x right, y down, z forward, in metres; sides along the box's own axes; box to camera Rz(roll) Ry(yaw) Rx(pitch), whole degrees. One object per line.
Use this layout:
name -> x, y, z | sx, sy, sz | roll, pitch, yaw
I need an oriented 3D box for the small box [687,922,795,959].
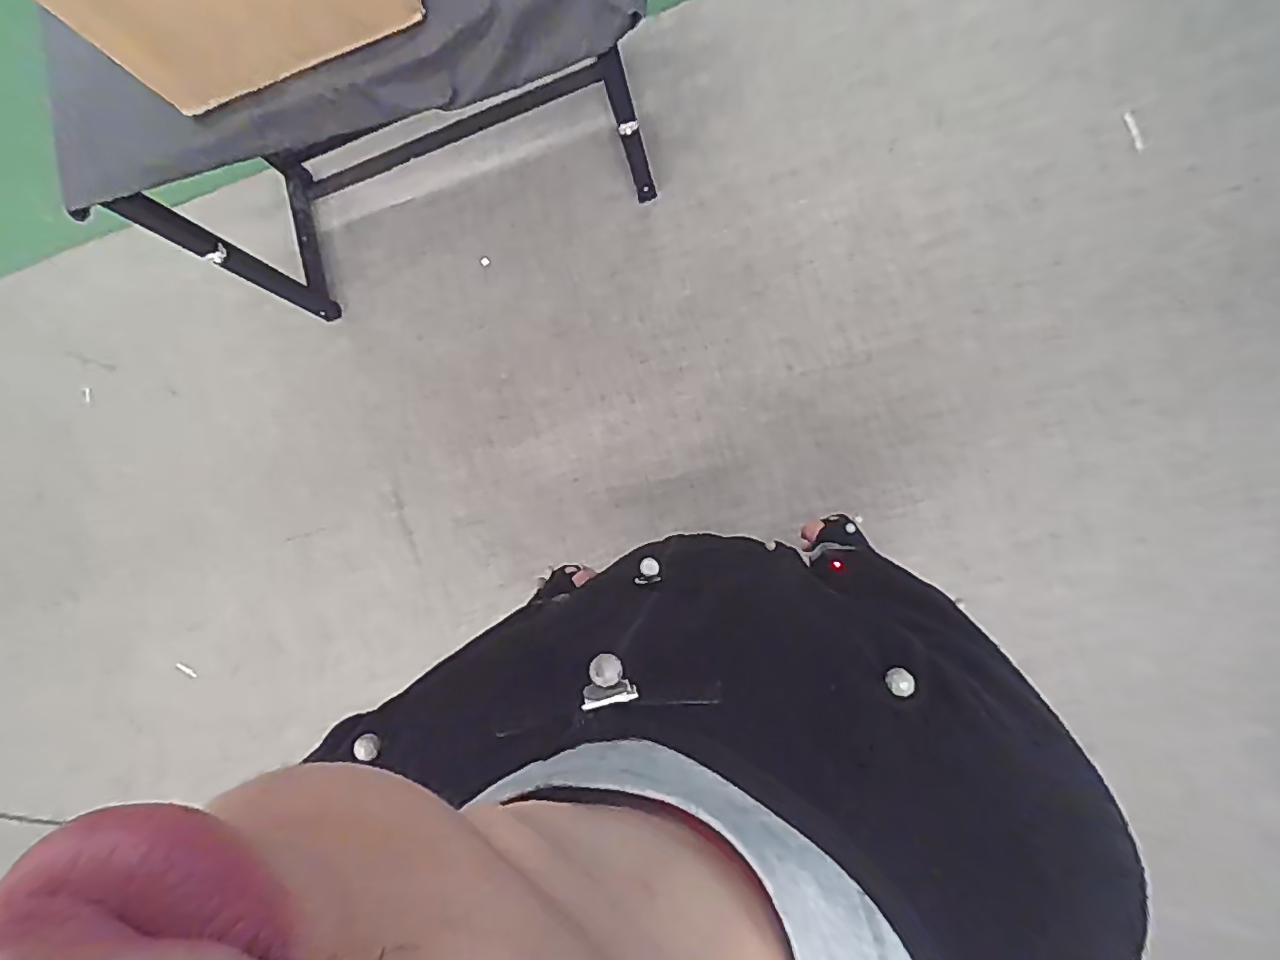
small box -> 0.167, 0.811, 0.794 | 0.168, 0.176, 0.179 | -18, 83, 7
